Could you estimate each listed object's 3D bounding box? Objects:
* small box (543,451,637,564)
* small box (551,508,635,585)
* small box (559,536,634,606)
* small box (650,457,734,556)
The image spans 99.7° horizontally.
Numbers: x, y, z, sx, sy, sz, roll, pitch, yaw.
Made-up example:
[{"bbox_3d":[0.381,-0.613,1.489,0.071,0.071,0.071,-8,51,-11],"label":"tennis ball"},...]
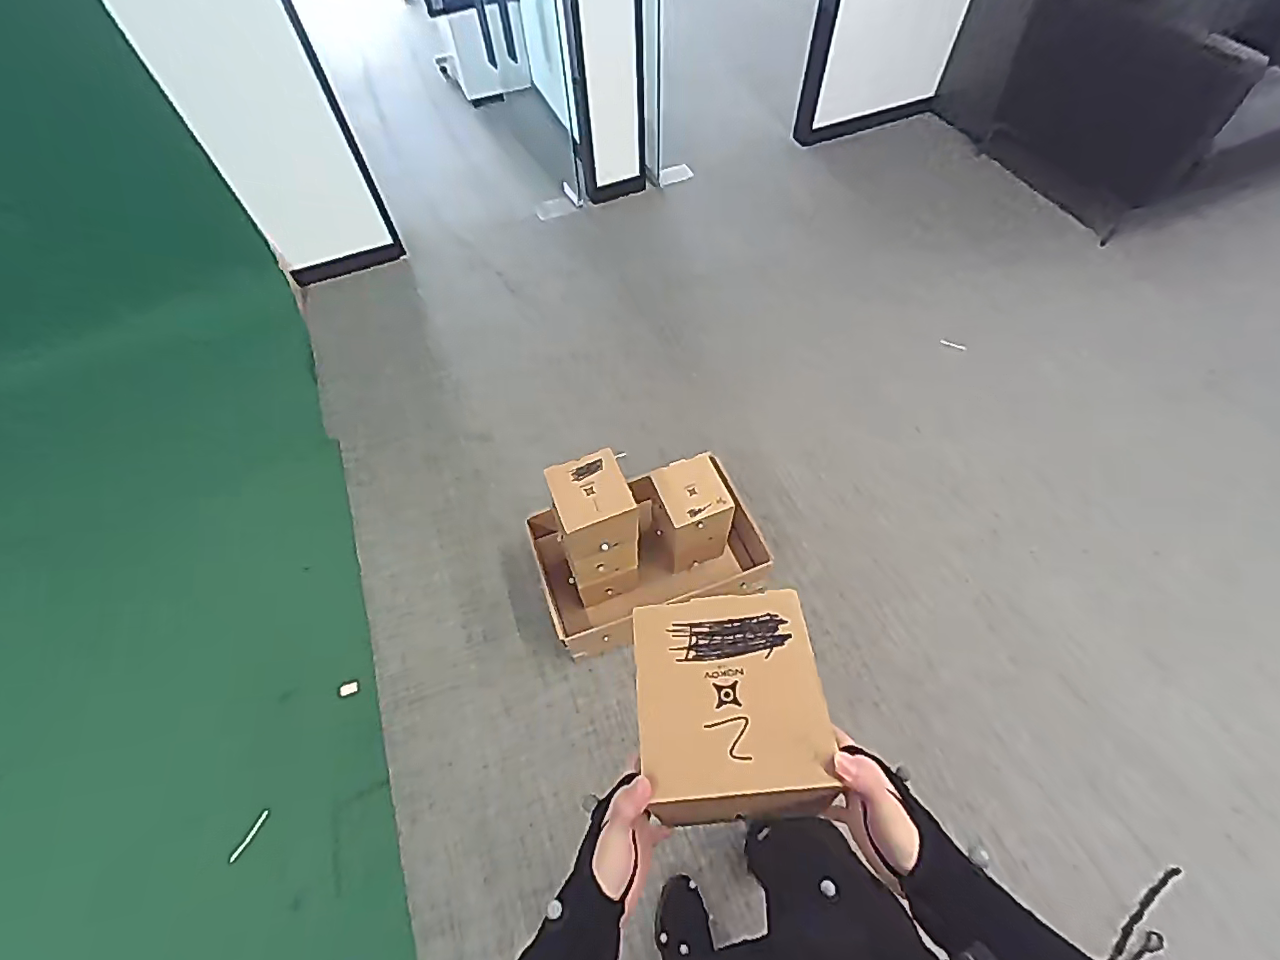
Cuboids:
[{"bbox_3d":[-0.114,0.066,1.257,0.168,0.176,0.179,-19,60,-11],"label":"small box"},{"bbox_3d":[-0.116,0.155,1.396,0.168,0.176,0.179,-19,60,-11],"label":"small box"},{"bbox_3d":[-0.118,0.241,1.532,0.168,0.176,0.179,-18,60,-11],"label":"small box"},{"bbox_3d":[0.131,0.073,1.439,0.168,0.176,0.179,-20,59,-9],"label":"small box"}]
